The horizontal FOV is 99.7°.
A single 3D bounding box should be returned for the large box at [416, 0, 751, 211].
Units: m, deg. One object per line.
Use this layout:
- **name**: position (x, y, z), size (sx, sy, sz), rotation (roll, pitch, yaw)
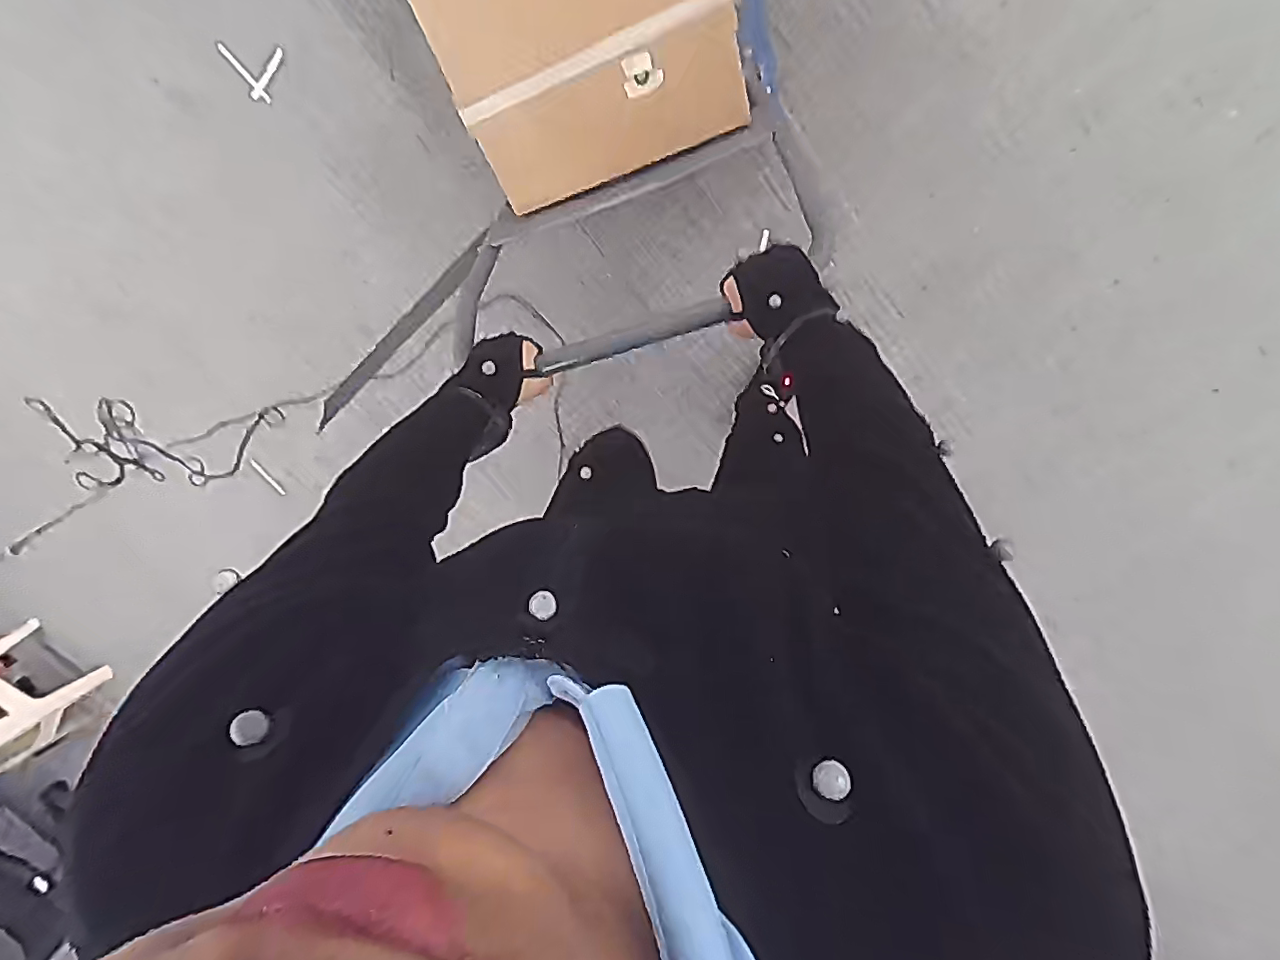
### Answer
- **large box**: position (-0.068, -0.712, 0.880), size (0.408, 0.320, 0.320), rotation (-15, 132, 16)
